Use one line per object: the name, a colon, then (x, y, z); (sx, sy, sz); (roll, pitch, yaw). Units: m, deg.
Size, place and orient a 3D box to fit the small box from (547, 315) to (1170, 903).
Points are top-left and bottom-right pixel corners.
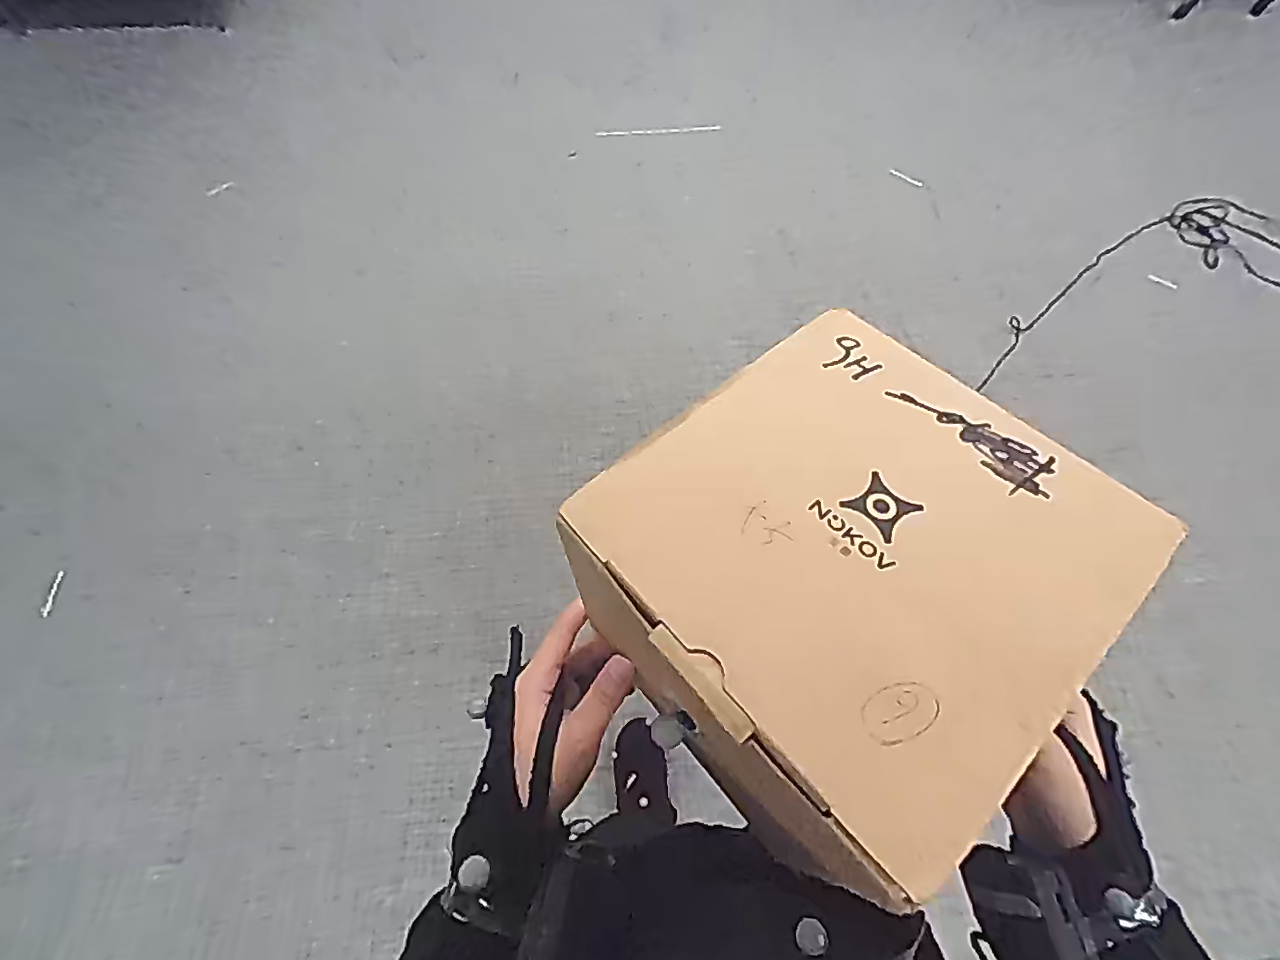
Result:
small box: (0.082, 0.060, 0.274); (0.179, 0.176, 0.168); (-36, 64, -18)
